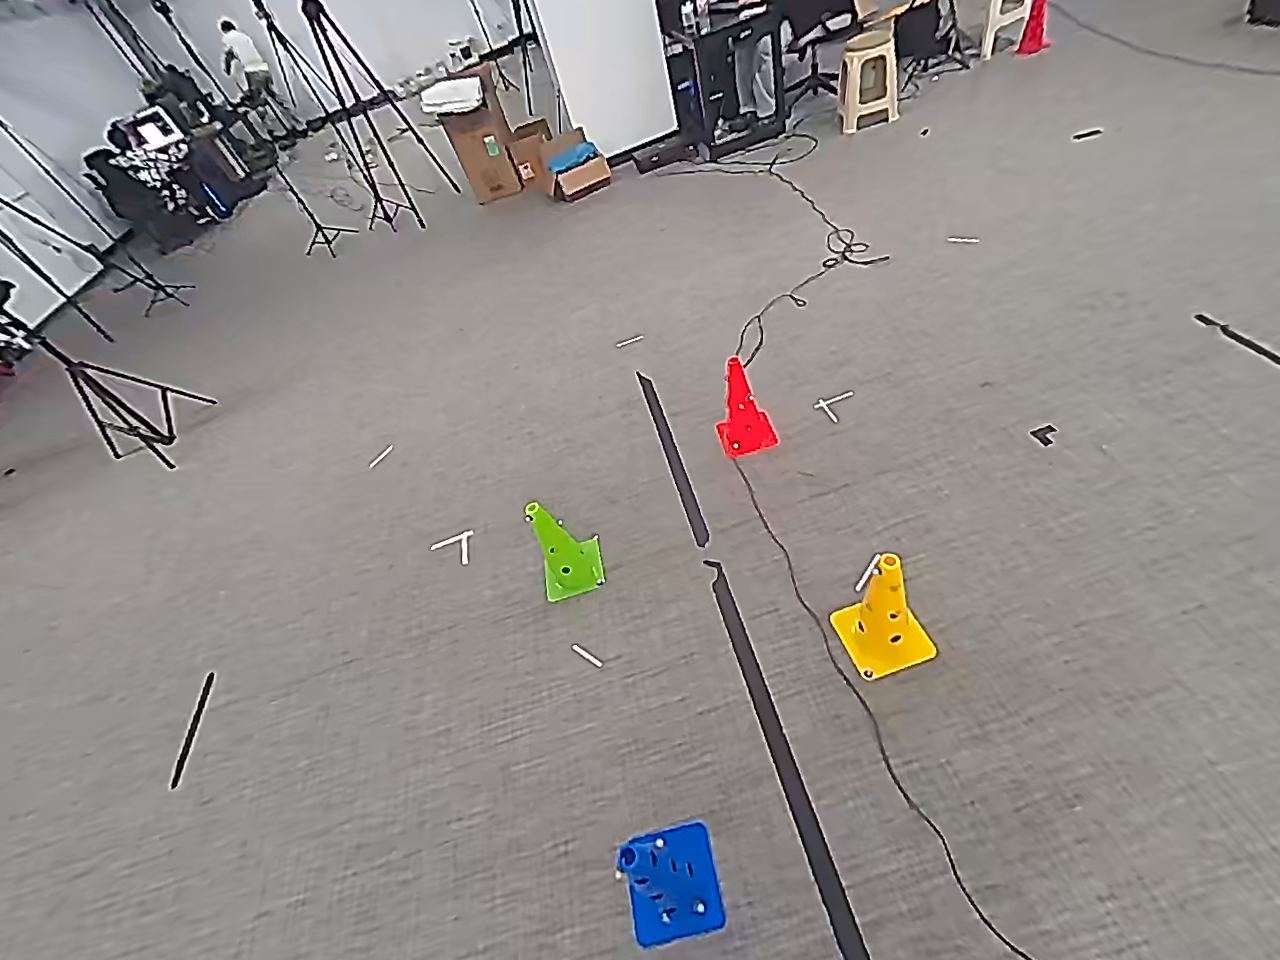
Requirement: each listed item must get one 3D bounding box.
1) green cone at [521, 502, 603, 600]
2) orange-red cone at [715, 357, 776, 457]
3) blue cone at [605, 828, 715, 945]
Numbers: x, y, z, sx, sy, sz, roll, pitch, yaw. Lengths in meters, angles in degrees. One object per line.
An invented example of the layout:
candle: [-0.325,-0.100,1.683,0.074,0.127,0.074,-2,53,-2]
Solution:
green cone: [-0.278,0.189,1.715,0.202,0.368,0.200,-20,46,4]
orange-red cone: [0.352,-0.285,1.916,0.199,0.360,0.198,-15,47,5]
blue cone: [0.017,0.788,1.082,0.192,0.380,0.193,-17,45,6]
